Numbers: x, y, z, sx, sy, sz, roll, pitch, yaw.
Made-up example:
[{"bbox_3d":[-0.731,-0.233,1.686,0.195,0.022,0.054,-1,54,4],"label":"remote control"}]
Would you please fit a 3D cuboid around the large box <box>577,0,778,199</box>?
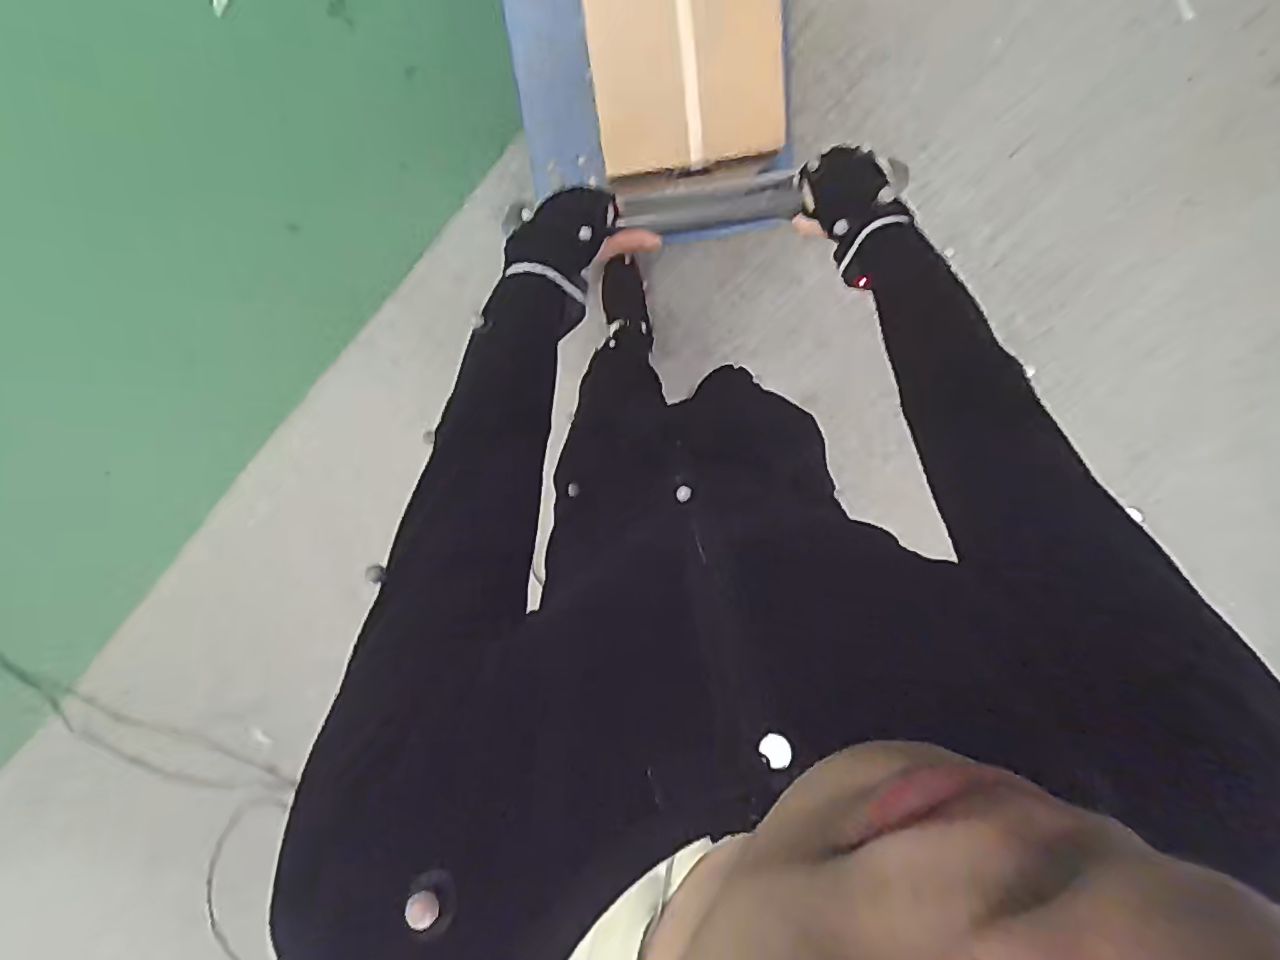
[{"bbox_3d":[0.062,-0.795,1.022,0.320,0.320,0.408,-7,109,2],"label":"large box"}]
